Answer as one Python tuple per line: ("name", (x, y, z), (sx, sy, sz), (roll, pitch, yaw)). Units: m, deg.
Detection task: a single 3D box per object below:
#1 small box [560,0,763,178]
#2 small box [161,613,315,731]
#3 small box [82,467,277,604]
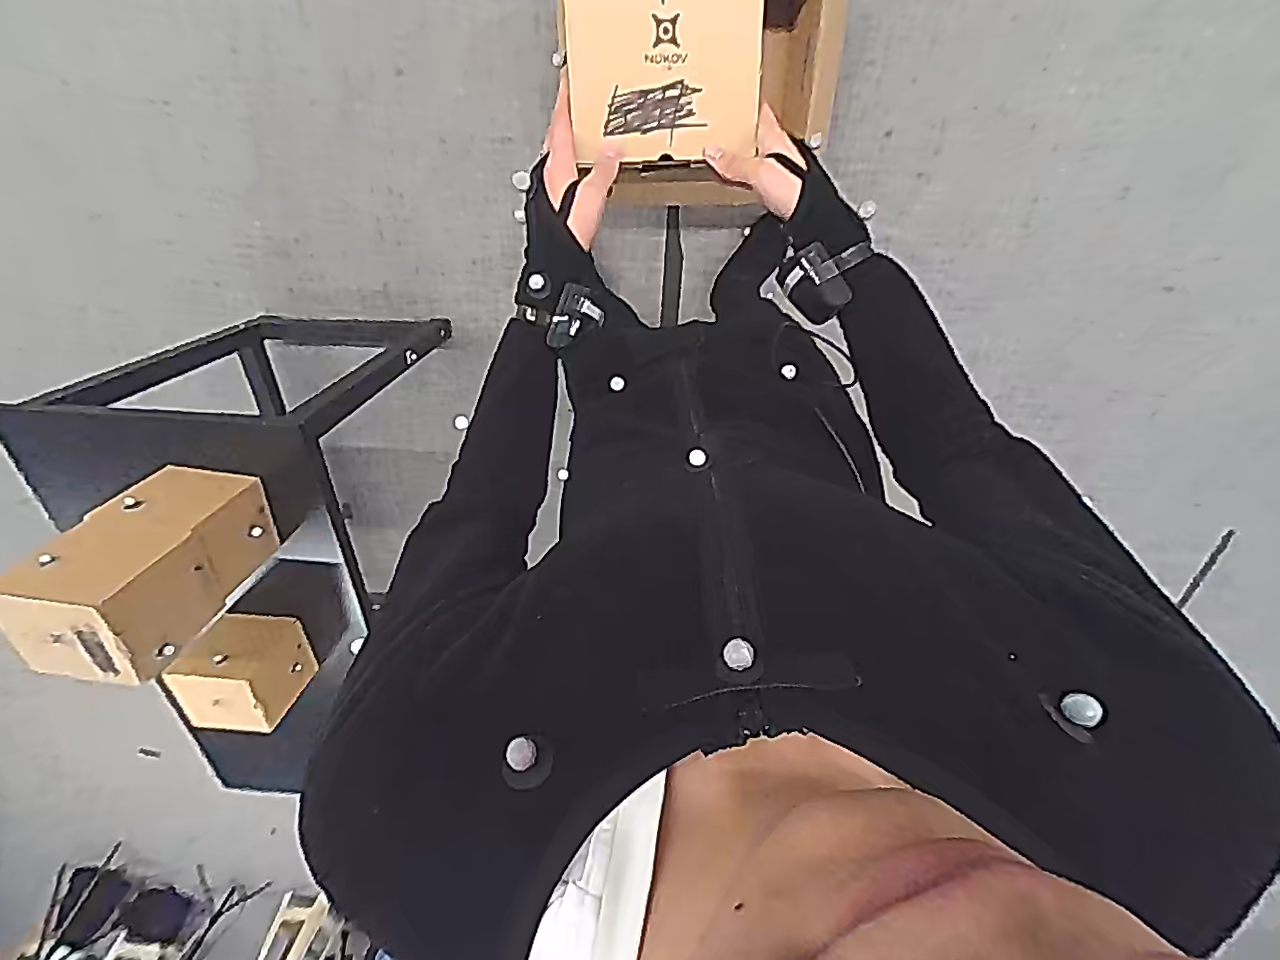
("small box", (0.013, -0.392, 0.513), (0.168, 0.176, 0.179), (-4, 113, -4))
("small box", (-0.844, 0.404, 1.156), (0.179, 0.176, 0.168), (3, 121, 3))
("small box", (-0.798, 0.092, 0.959), (0.179, 0.176, 0.168), (8, 123, 1))
